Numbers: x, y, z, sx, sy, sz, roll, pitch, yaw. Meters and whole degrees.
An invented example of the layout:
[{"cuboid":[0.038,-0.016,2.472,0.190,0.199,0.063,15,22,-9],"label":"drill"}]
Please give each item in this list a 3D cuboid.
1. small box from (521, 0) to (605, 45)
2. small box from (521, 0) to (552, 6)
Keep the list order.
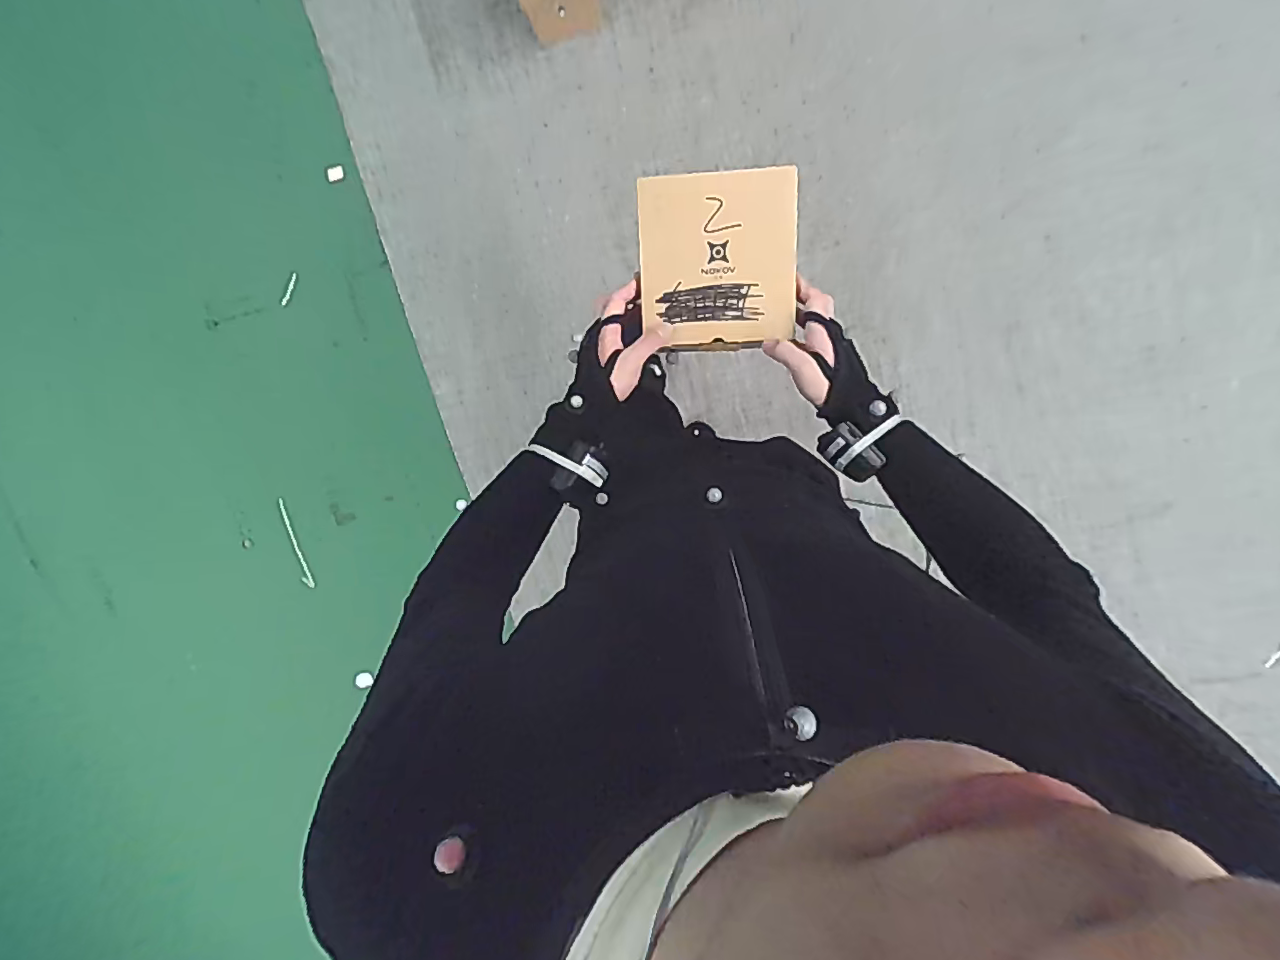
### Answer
[{"cuboid":[-0.198,-1.225,1.336,0.179,0.176,0.168,-9,101,8],"label":"small box"},{"cuboid":[-0.220,-1.187,1.179,0.168,0.176,0.179,-9,102,8],"label":"small box"}]
